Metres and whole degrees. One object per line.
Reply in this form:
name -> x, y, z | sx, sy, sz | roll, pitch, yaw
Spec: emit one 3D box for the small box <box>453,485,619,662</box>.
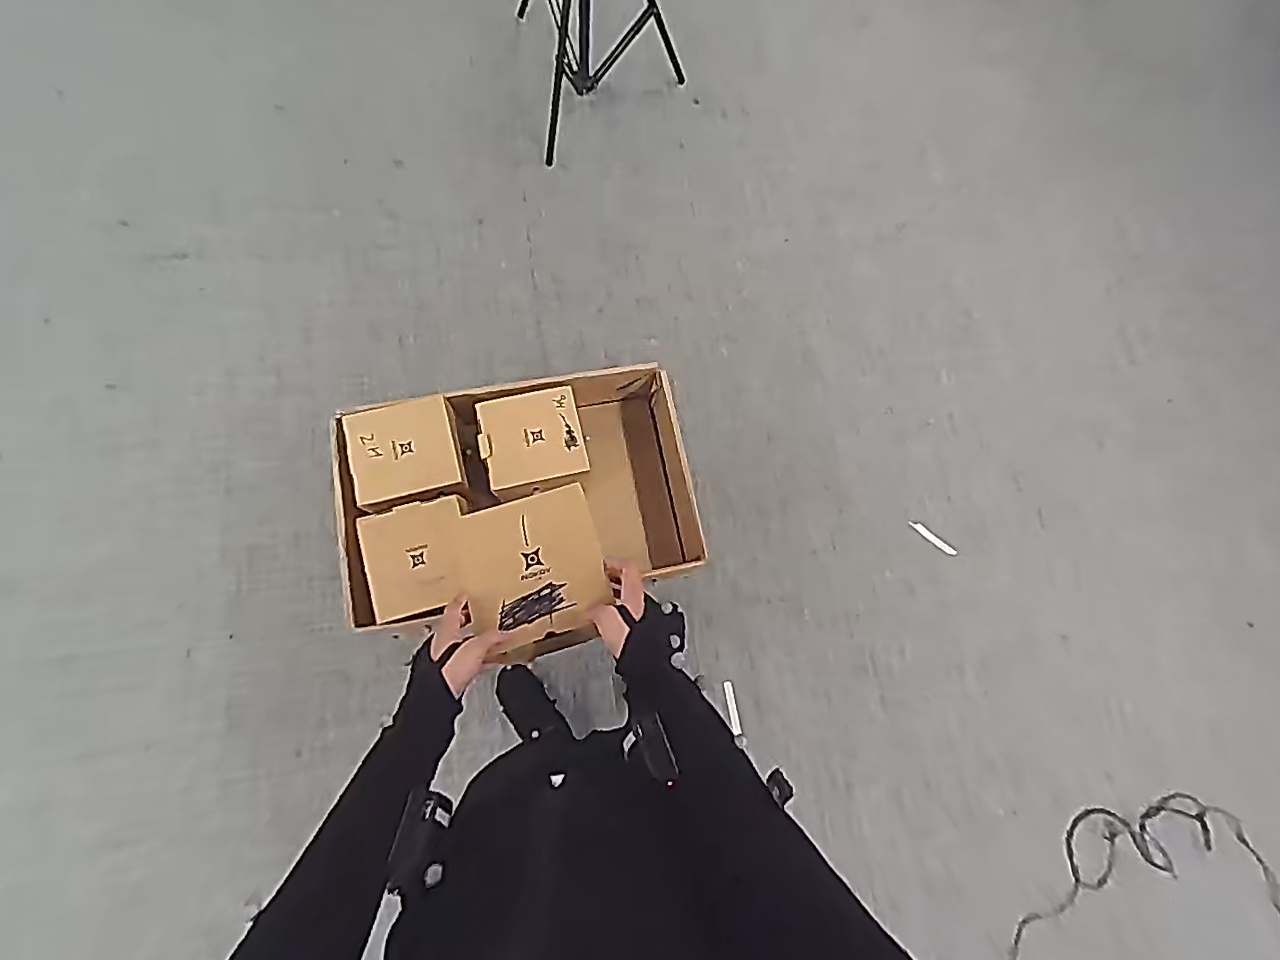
small box -> -0.127, 0.131, 0.714 | 0.168, 0.176, 0.179 | -16, 70, -7
